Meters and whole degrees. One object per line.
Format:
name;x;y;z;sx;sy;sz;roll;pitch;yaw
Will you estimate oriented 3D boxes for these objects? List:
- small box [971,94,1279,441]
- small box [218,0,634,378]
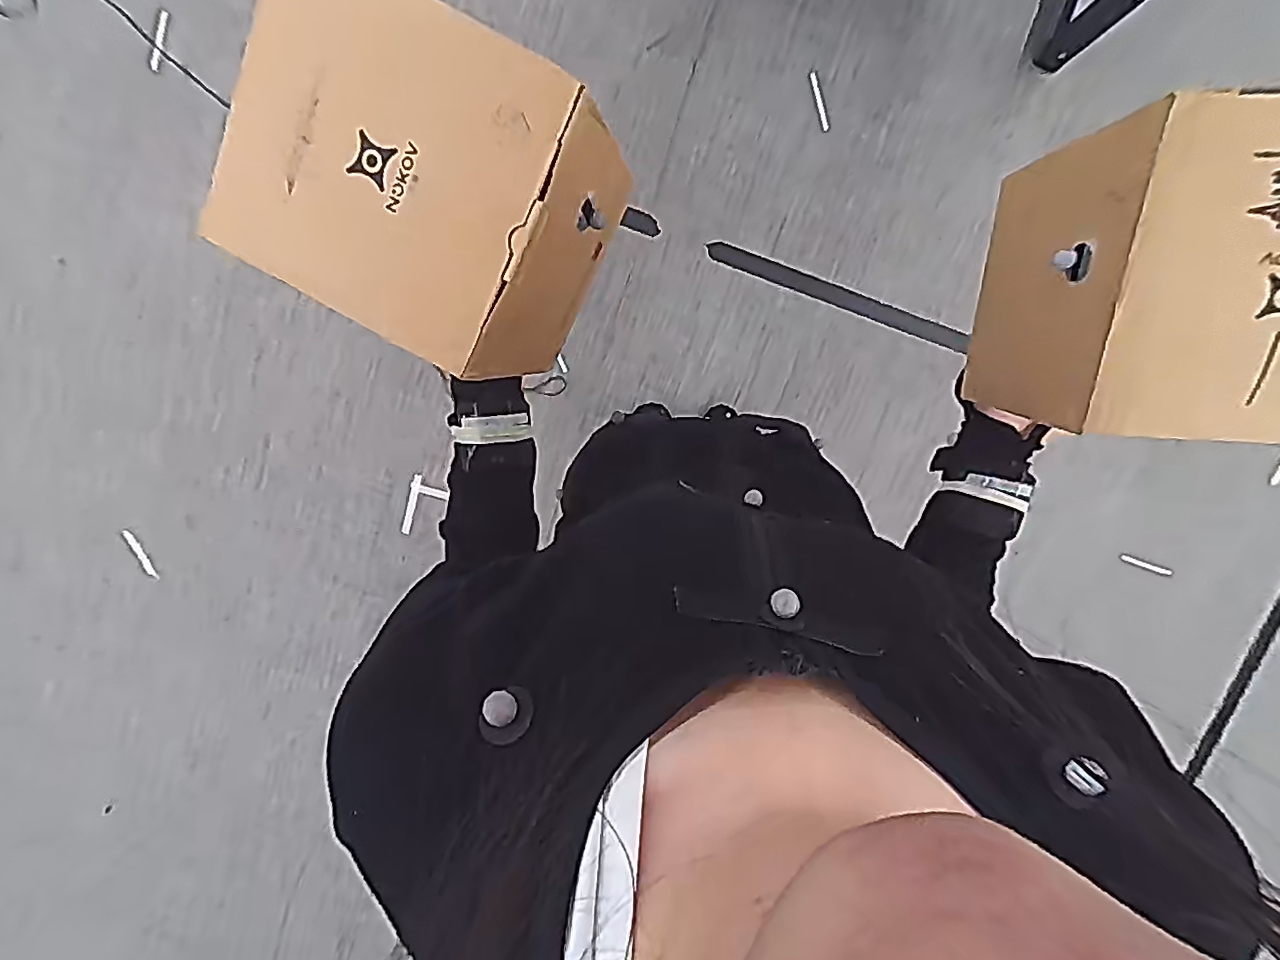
small box;0.355;-0.127;0.364;0.168;0.176;0.179;3;106;7
small box;-0.120;-0.185;0.366;0.179;0.176;0.168;29;104;1
